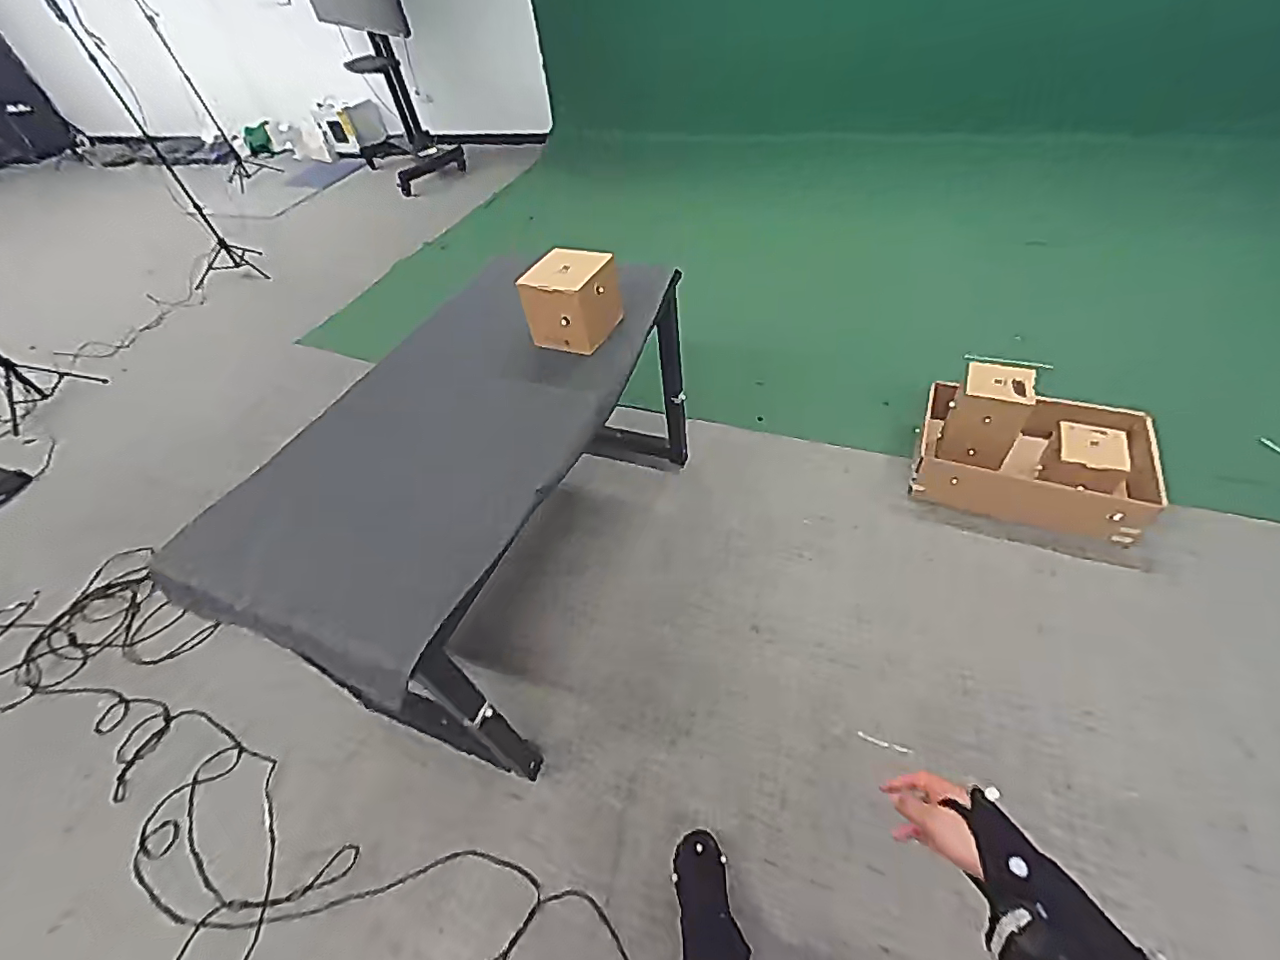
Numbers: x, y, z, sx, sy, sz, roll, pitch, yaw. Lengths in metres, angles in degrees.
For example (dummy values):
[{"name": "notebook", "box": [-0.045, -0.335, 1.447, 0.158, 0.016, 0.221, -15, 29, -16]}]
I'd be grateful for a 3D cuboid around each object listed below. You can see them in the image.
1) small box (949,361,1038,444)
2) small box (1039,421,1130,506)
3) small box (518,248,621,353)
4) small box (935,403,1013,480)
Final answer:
[{"name": "small box", "box": [1.053, -0.228, 1.616, 0.179, 0.176, 0.168, 15, 52, 21]}, {"name": "small box", "box": [1.339, -0.048, 1.637, 0.168, 0.176, 0.179, 15, 54, 22]}, {"name": "small box", "box": [-0.156, -0.424, 1.282, 0.168, 0.176, 0.179, 16, 52, 22]}, {"name": "small box", "box": [1.072, -0.123, 1.741, 0.179, 0.176, 0.168, 15, 53, 19]}]
